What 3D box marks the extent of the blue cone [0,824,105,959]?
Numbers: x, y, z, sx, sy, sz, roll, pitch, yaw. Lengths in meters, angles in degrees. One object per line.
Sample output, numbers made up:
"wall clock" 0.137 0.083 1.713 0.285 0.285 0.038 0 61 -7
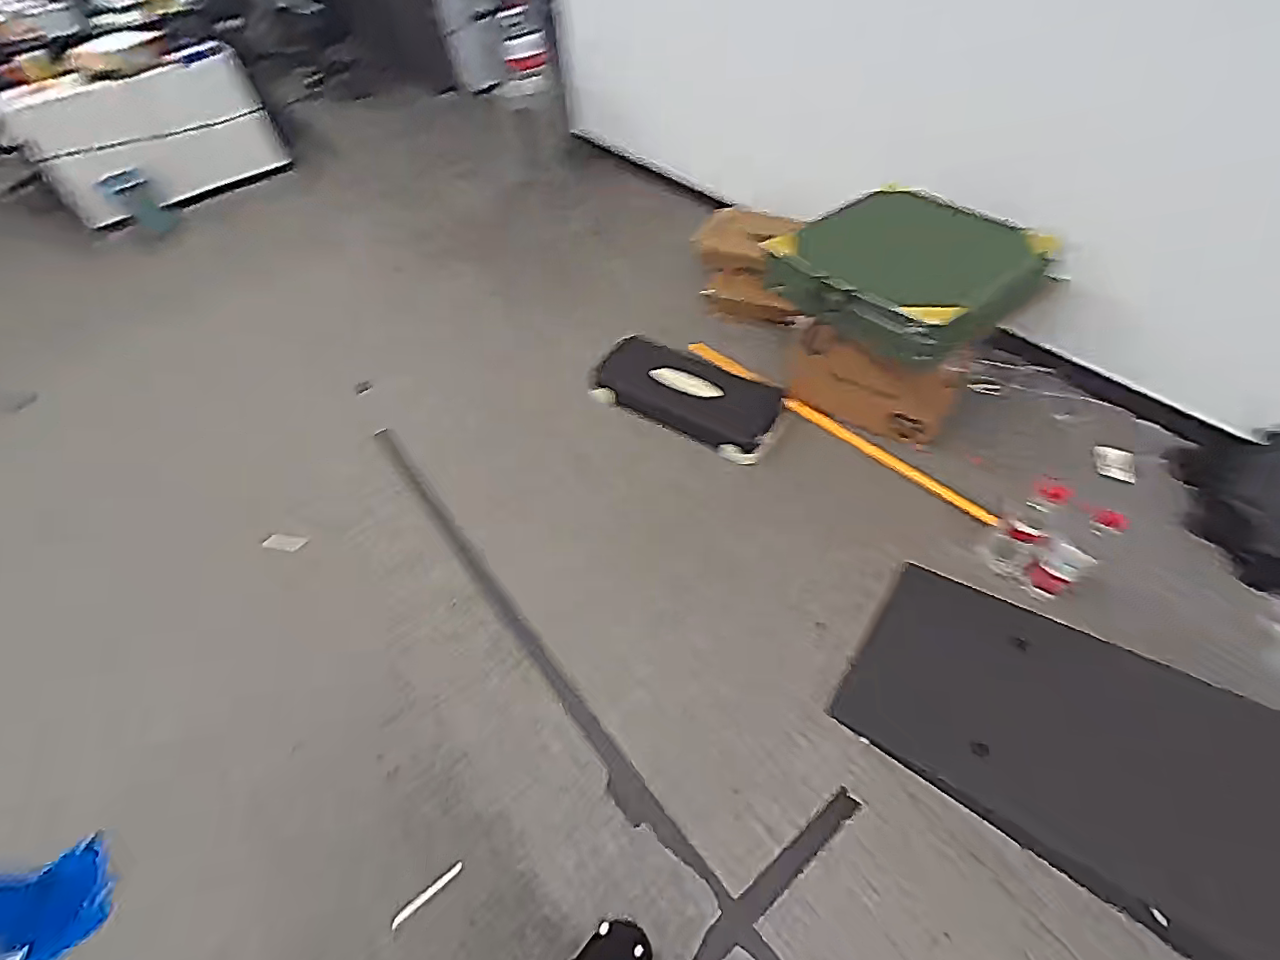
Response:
"blue cone" -1.246 0.766 1.009 0.193 0.380 0.192 -32 55 -19
